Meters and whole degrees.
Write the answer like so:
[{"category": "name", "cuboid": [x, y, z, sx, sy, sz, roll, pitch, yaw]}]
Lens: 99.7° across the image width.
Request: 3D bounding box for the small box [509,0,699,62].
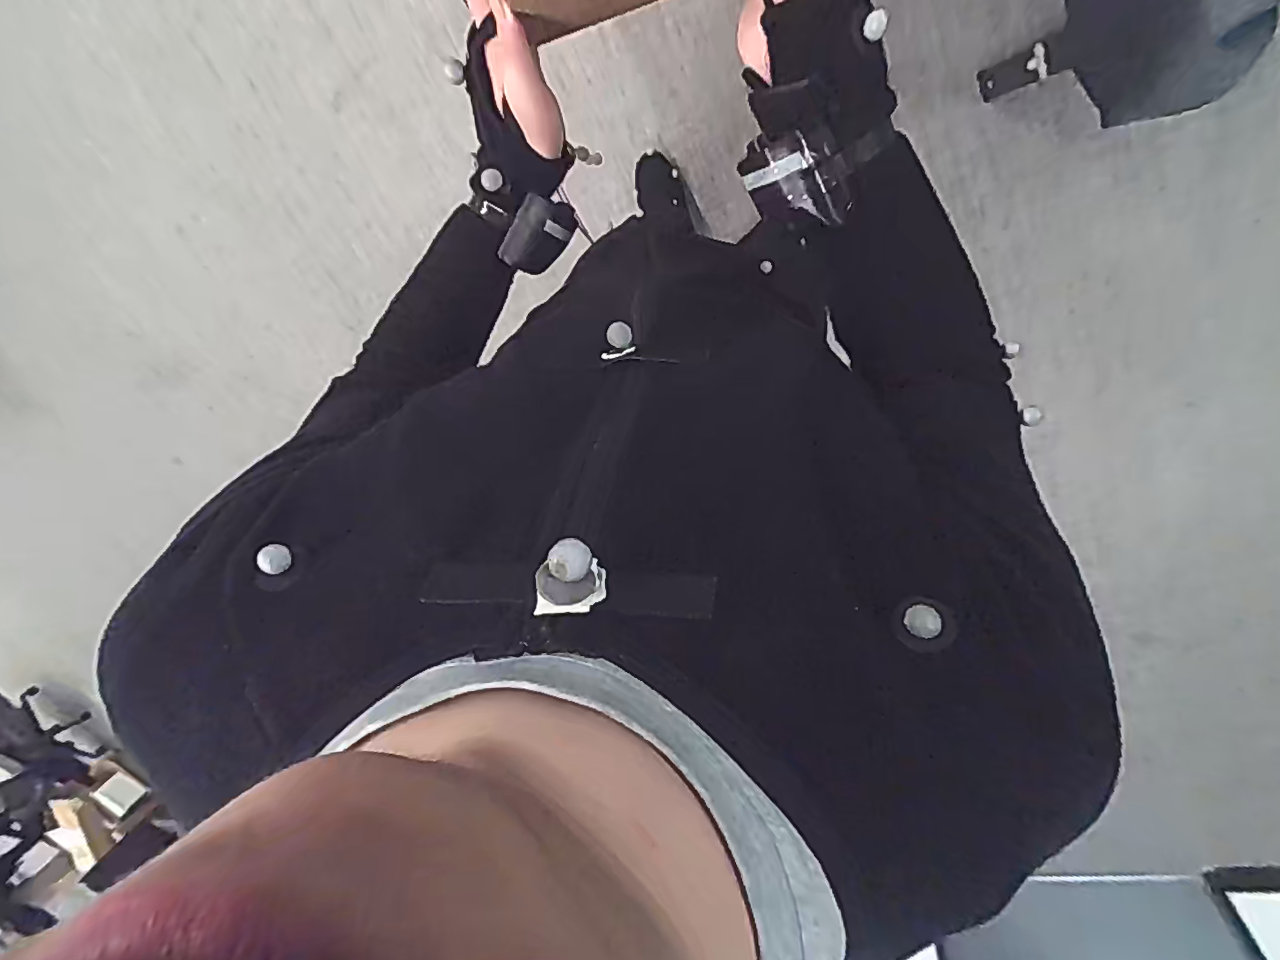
[{"category": "small box", "cuboid": [-0.026, -0.382, 0.283, 0.168, 0.179, 0.176, -18, 102, 2]}]
